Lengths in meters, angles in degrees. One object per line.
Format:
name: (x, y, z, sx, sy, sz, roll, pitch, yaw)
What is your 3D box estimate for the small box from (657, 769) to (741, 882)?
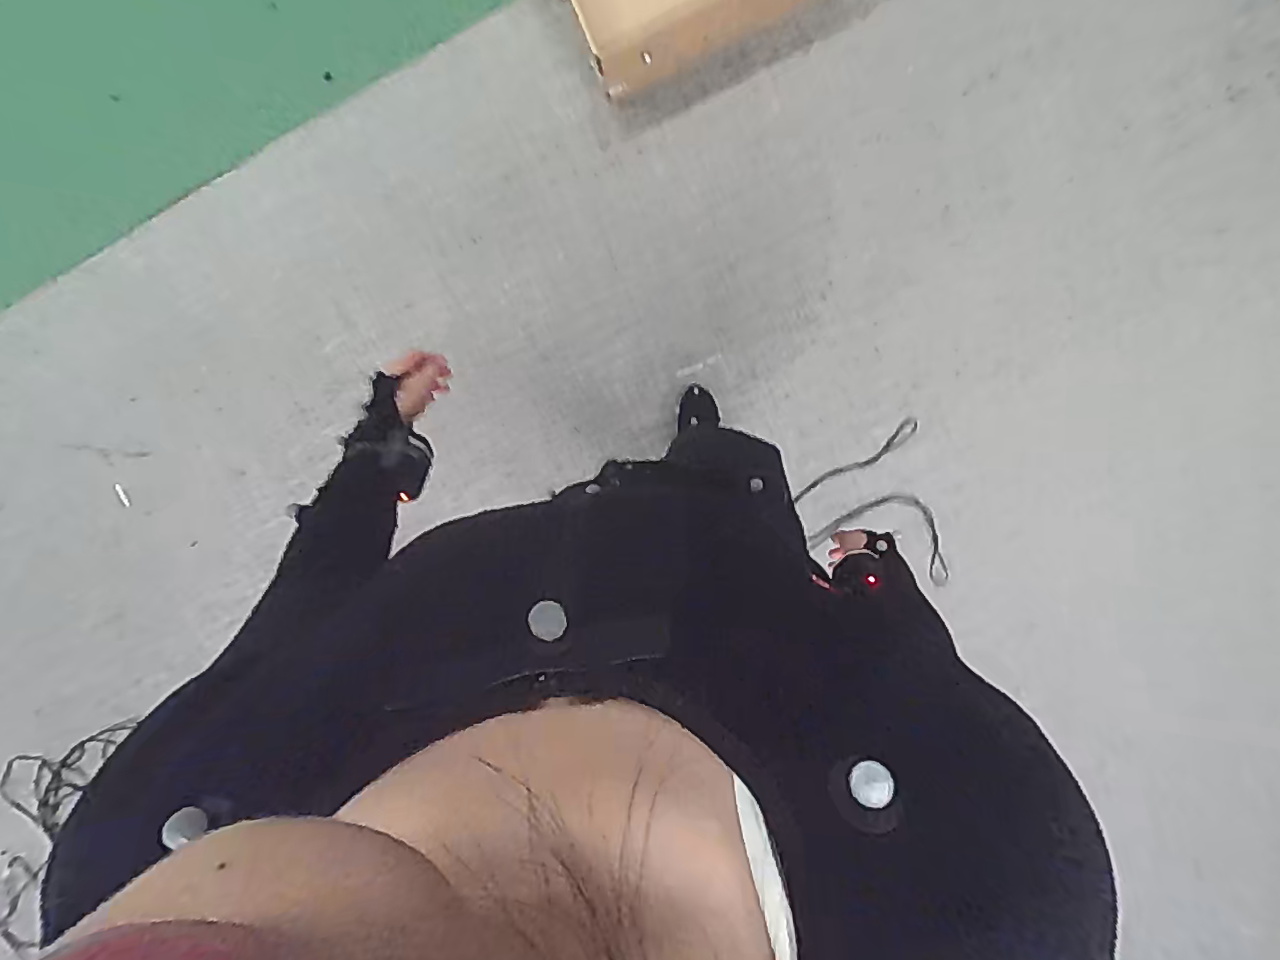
small box: (0.167, 0.967, 1.526, 0.168, 0.176, 0.179, -33, 94, 8)
